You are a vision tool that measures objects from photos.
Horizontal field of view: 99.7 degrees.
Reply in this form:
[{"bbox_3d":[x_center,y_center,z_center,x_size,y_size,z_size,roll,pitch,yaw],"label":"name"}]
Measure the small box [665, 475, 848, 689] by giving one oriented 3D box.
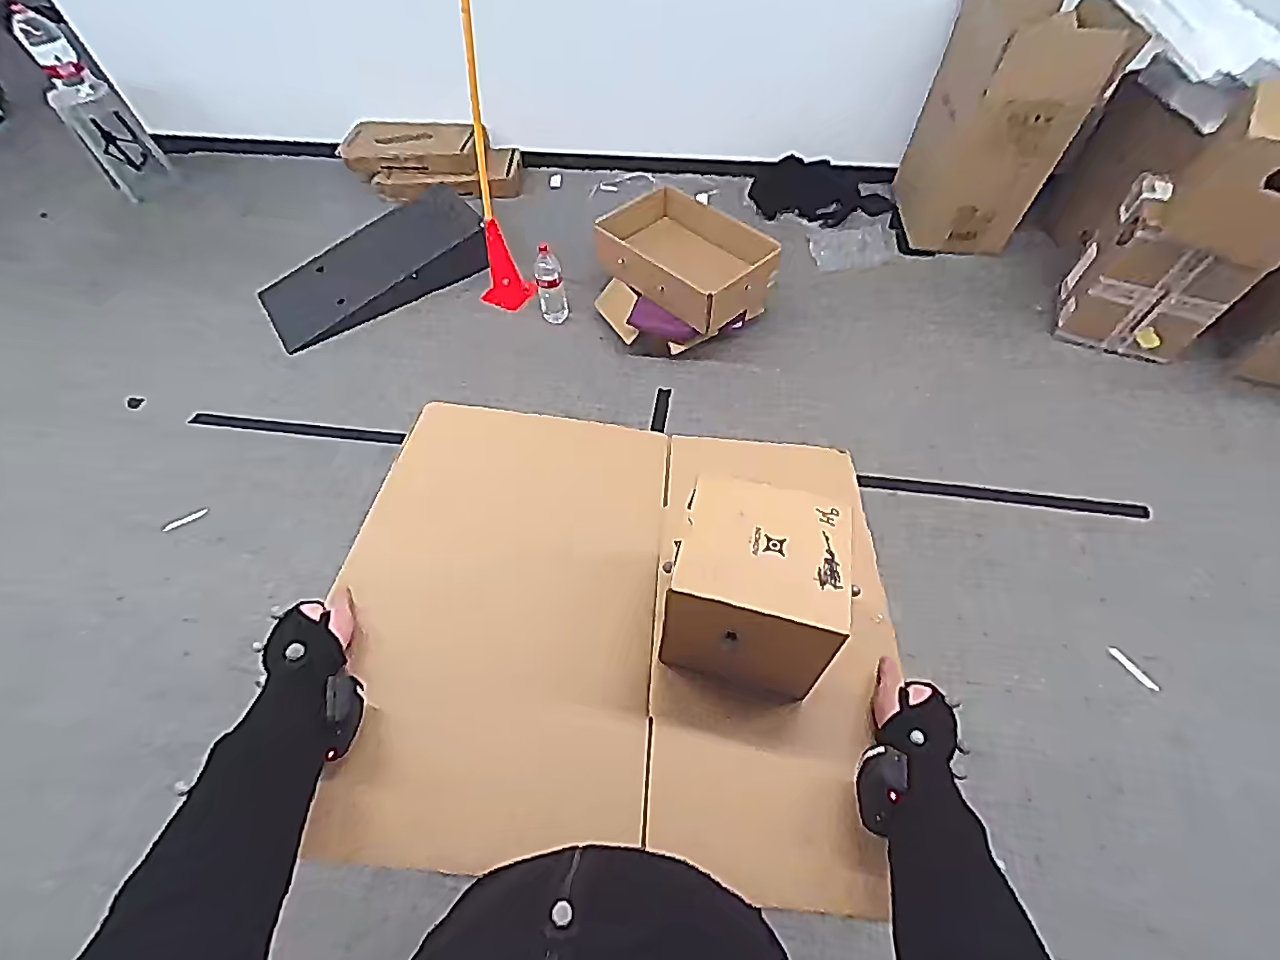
[{"bbox_3d":[0.130,0.122,0.631,0.179,0.176,0.168,12,50,9],"label":"small box"}]
